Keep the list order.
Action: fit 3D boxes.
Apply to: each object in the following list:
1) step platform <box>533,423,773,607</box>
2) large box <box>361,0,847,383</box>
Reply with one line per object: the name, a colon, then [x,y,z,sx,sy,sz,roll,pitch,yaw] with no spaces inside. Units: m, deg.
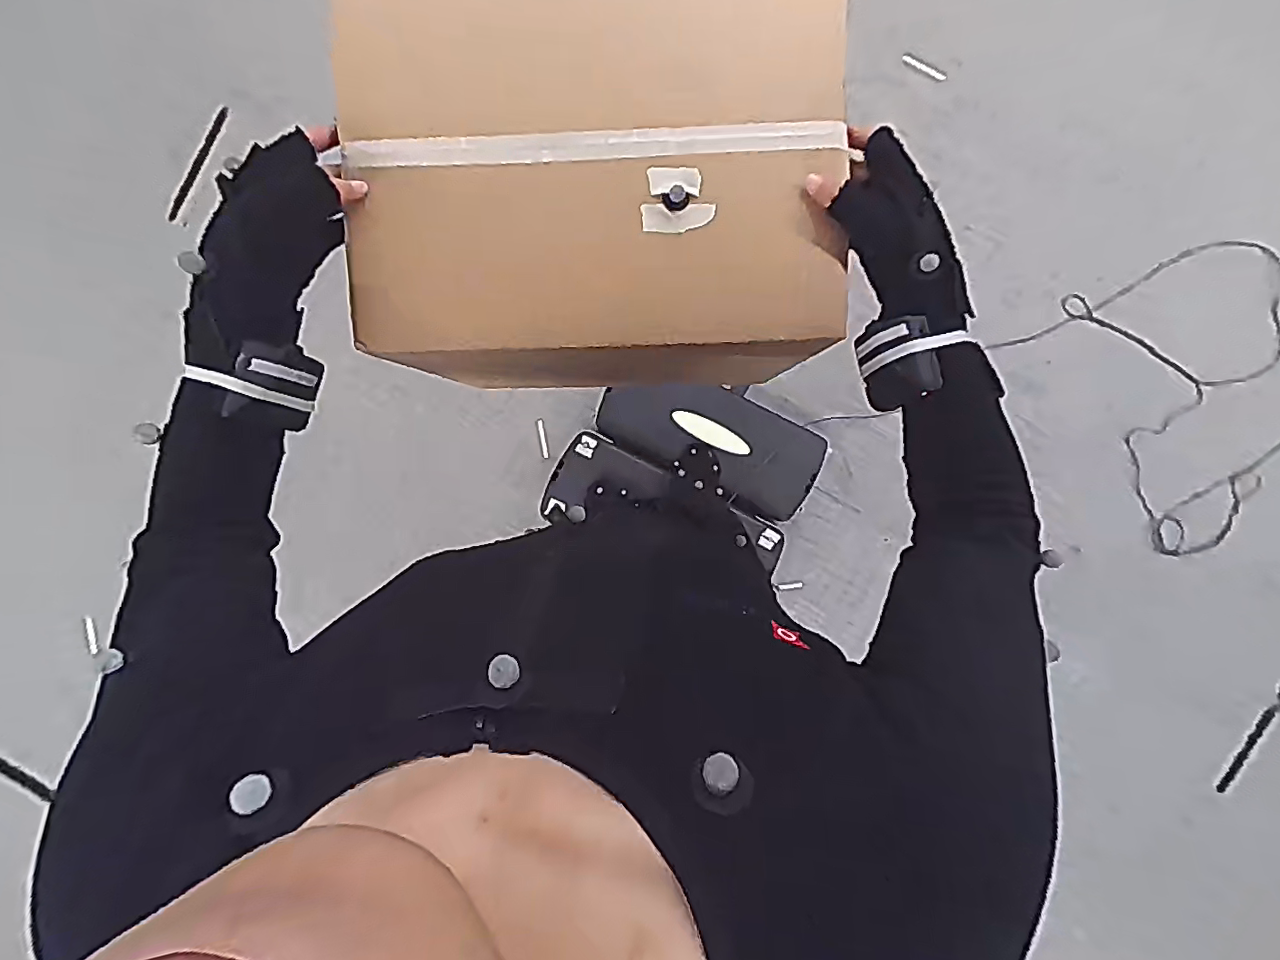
step platform: [0.036,0.099,1.582,0.684,0.204,0.286,27,91,3]
large box: [-0.028,-0.284,0.595,0.408,0.320,0.320,-1,94,1]
